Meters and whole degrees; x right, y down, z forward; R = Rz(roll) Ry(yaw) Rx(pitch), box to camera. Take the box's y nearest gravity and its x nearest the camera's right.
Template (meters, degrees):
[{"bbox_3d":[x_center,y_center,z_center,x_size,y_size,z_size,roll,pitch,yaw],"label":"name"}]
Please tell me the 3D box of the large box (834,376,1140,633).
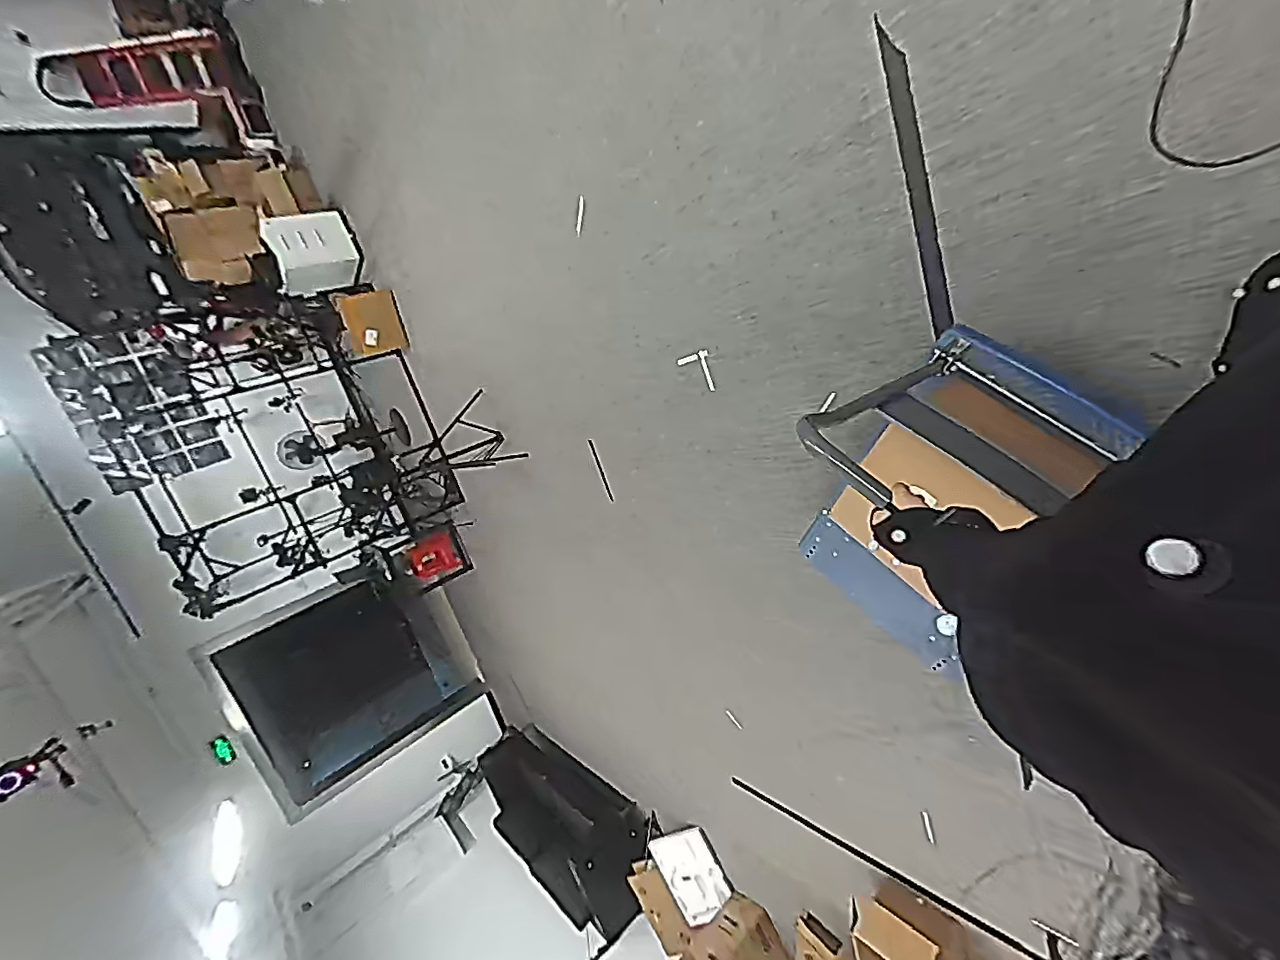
[{"bbox_3d":[0.725,0.038,1.174,0.408,0.320,0.320,45,142,26],"label":"large box"}]
